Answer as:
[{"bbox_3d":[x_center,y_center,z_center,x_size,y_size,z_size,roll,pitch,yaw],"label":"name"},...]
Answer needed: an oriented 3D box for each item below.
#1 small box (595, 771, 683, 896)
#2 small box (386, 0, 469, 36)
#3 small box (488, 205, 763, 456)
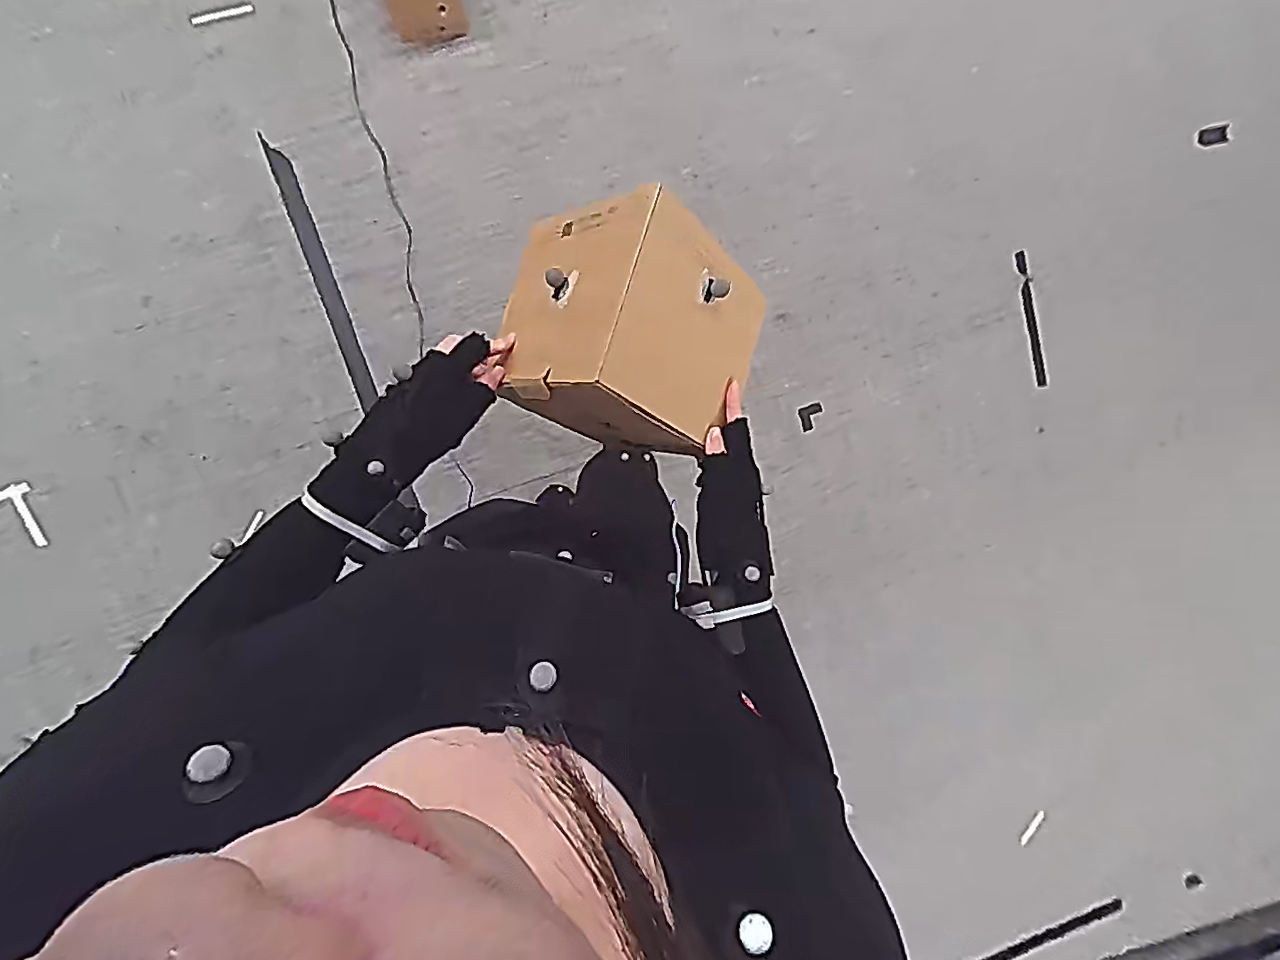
[{"bbox_3d":[-0.009,0.856,1.326,0.179,0.176,0.168,-14,99,-6],"label":"small box"},{"bbox_3d":[-0.497,-1.150,1.224,0.168,0.176,0.179,-12,97,-6],"label":"small box"},{"bbox_3d":[-0.008,-0.135,0.516,0.179,0.168,0.176,24,79,-46],"label":"small box"}]
